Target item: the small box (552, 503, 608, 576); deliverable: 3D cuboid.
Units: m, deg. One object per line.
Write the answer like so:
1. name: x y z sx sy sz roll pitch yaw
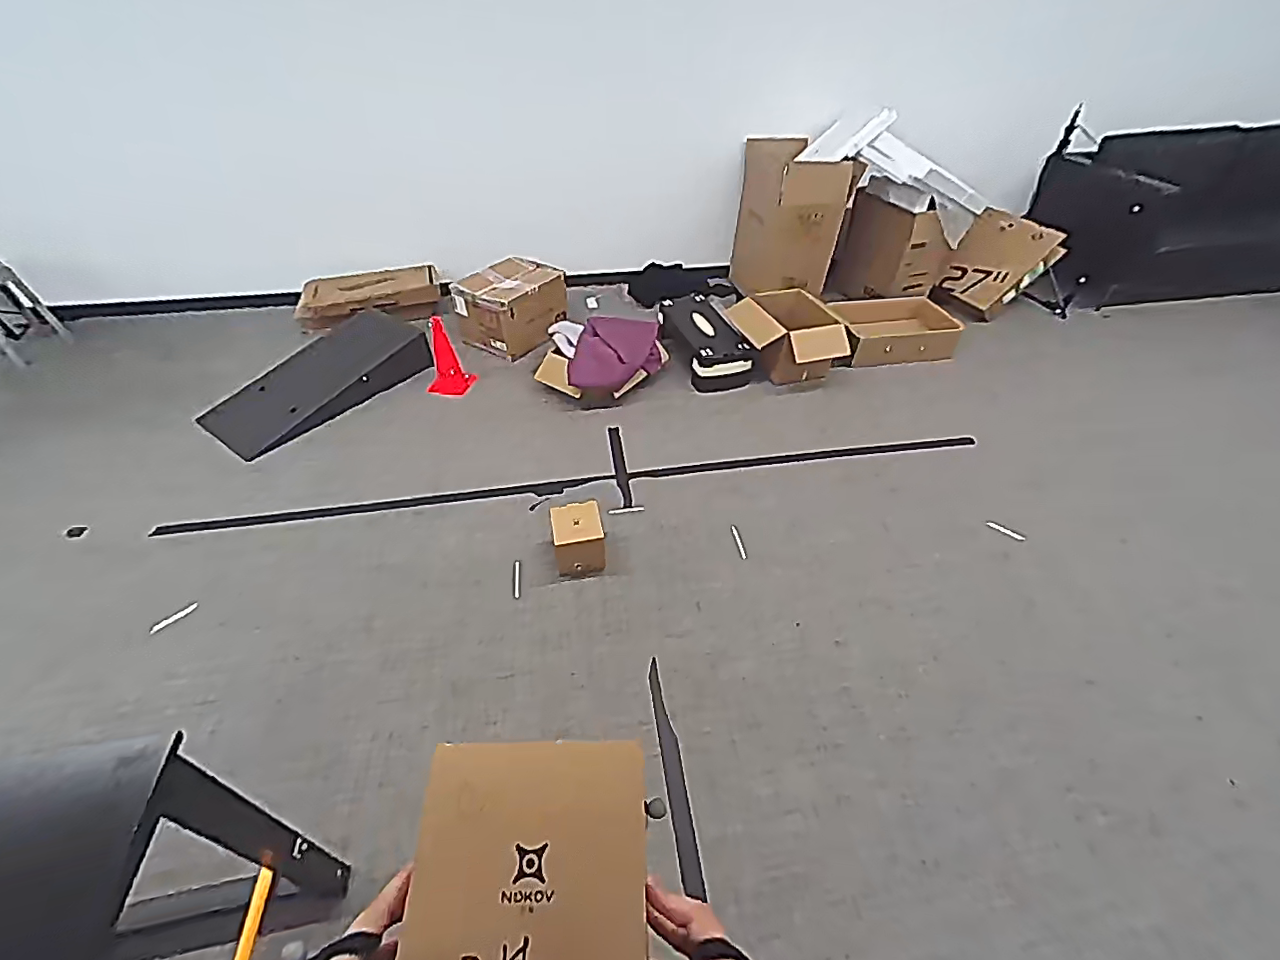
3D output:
1. small box: -0.210 0.208 1.880 0.168 0.176 0.179 -10 45 -9
